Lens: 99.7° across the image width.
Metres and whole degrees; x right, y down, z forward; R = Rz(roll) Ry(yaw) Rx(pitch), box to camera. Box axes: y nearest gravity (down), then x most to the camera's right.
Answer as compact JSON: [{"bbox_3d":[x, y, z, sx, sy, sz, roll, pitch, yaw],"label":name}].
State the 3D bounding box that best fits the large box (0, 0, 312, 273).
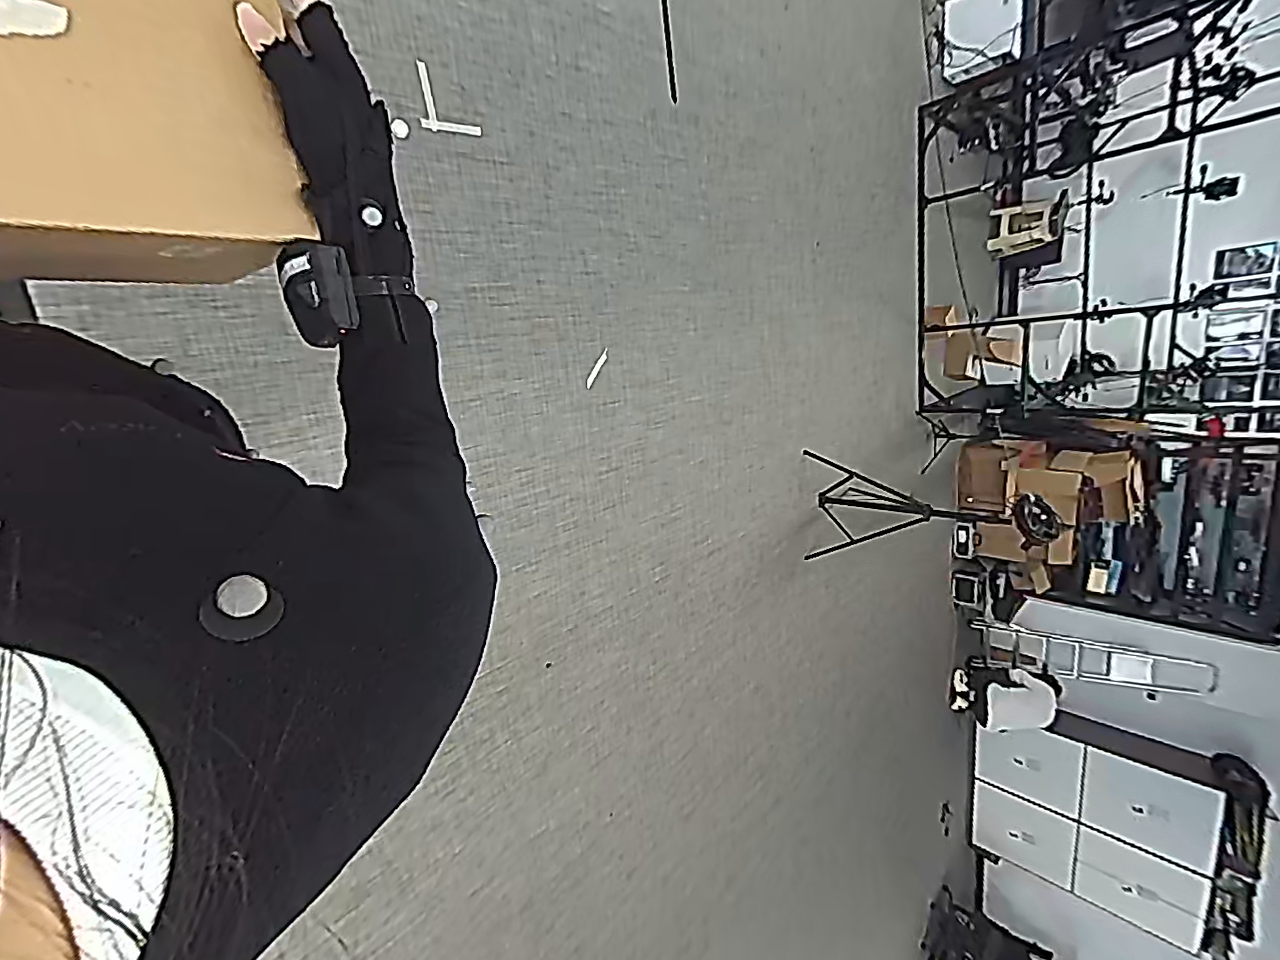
[{"bbox_3d":[-0.494,-0.302,0.319,0.408,0.320,0.320,-19,114,-44],"label":"large box"}]
